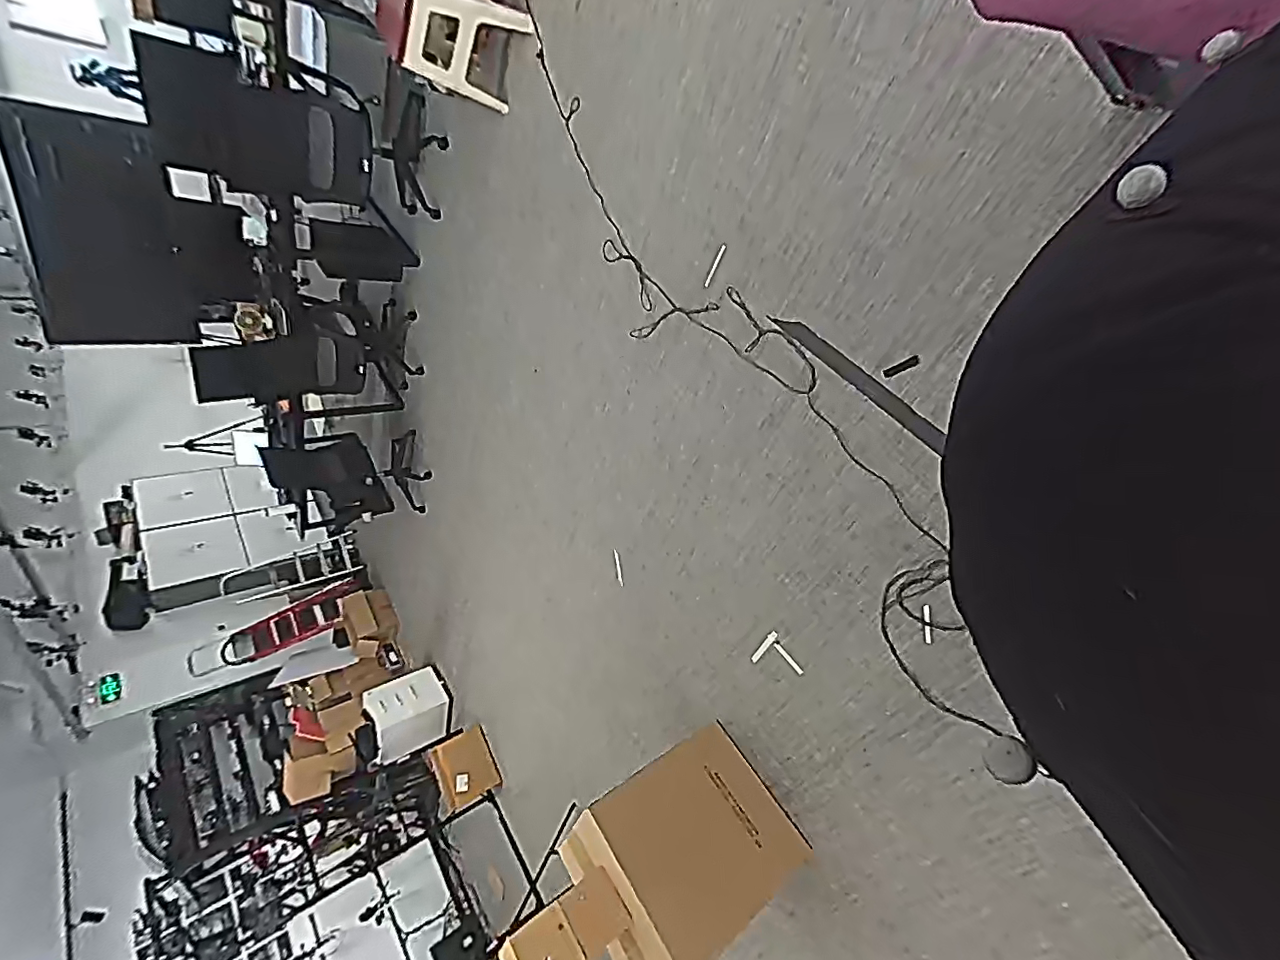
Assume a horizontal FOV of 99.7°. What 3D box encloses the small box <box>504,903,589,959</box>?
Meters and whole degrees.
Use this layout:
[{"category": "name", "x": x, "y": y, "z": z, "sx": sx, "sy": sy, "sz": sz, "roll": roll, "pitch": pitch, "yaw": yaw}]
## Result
[{"category": "small box", "x": -0.266, "y": 1.369, "z": 1.552, "sx": 0.168, "sy": 0.176, "sz": 0.179, "roll": 47, "pitch": 134, "yaw": 31}]
